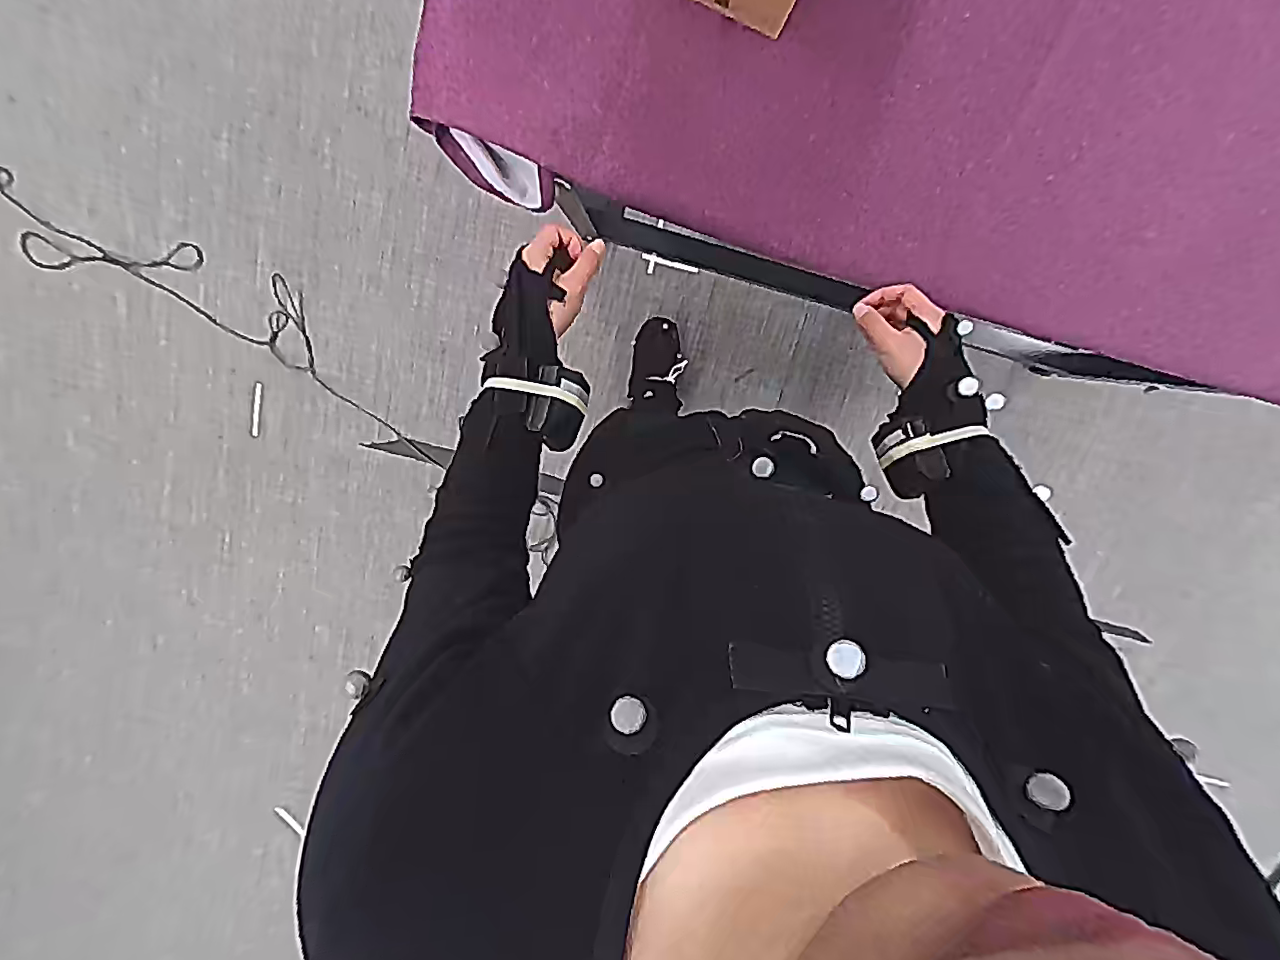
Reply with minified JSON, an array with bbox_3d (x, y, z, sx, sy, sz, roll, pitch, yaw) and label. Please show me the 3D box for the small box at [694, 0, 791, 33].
[{"bbox_3d":[0.088,-0.516,0.422,0.168,0.176,0.179,21,105,-6],"label":"small box"}]
